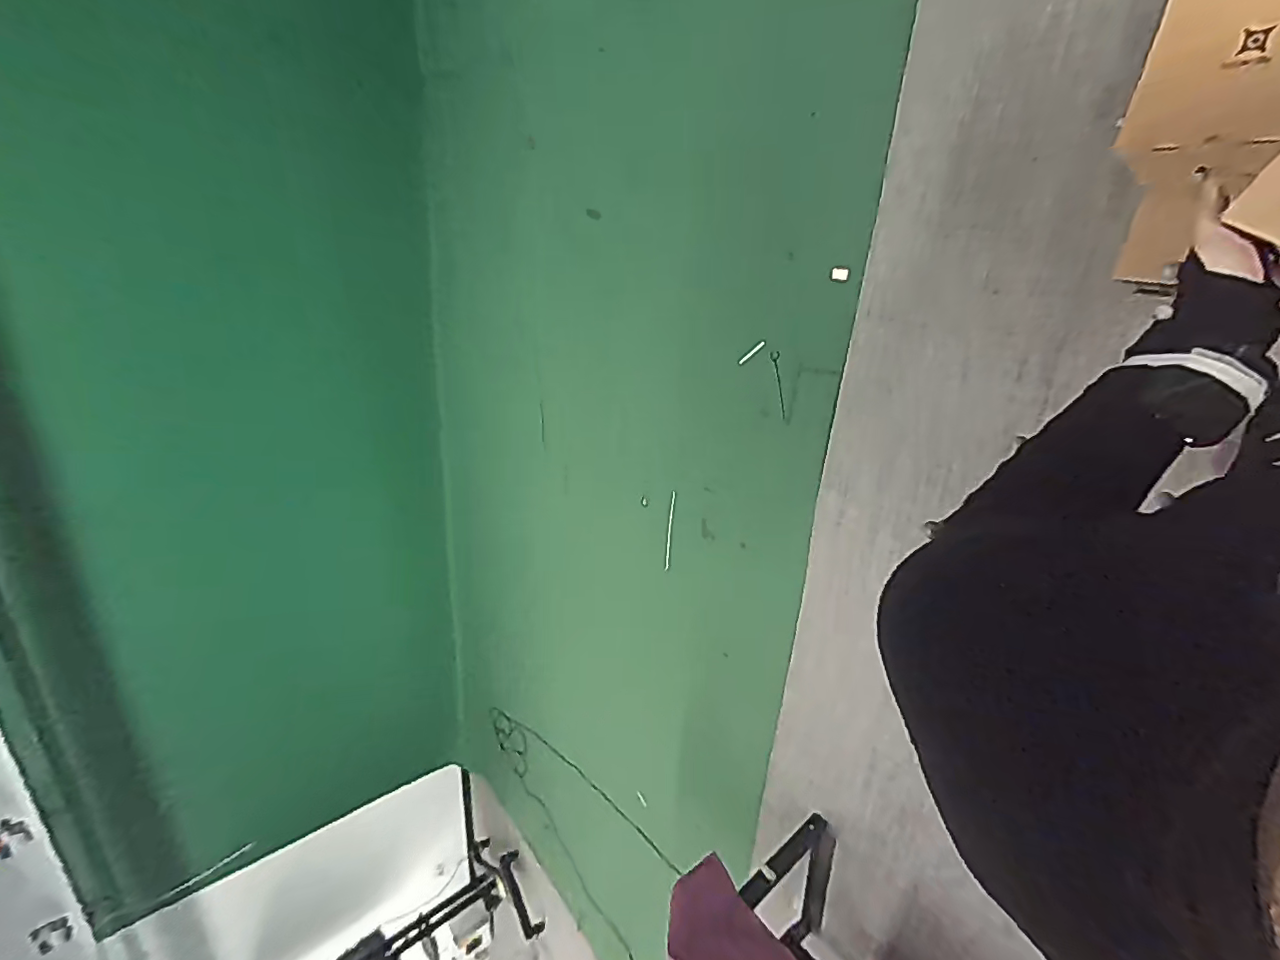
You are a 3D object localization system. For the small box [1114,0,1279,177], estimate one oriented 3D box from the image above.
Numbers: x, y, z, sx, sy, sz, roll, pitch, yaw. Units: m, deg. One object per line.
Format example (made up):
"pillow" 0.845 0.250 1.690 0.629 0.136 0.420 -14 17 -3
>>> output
"small box" 0.666 -0.444 0.587 0.168 0.176 0.179 29 122 43

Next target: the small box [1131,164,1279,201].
"small box" 0.787 -0.467 0.695 0.168 0.176 0.179 29 119 43
